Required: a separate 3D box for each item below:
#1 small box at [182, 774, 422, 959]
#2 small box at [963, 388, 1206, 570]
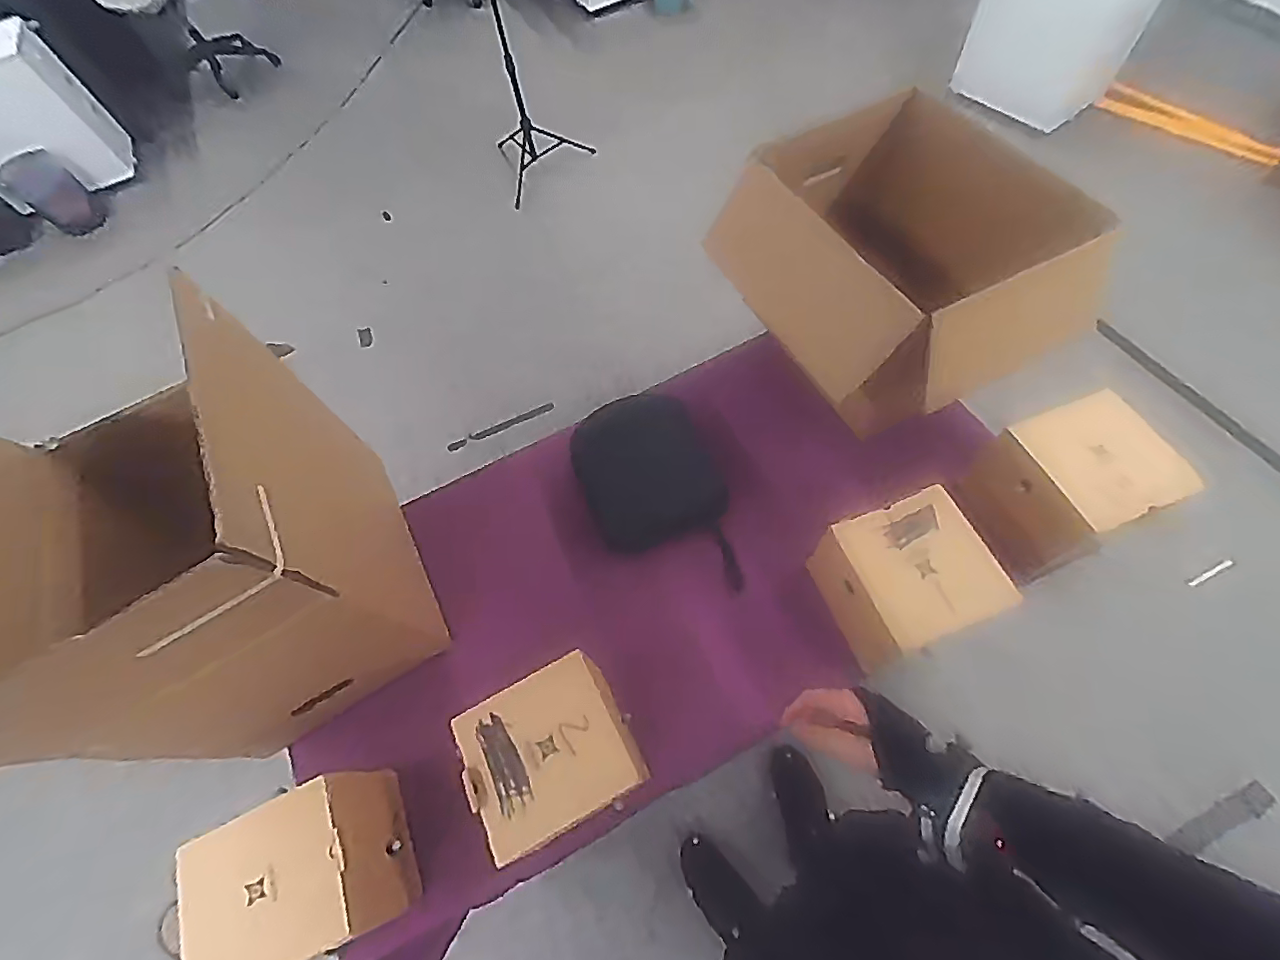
[{"bbox_3d":[-0.399,0.481,0.655,0.179,0.176,0.168,-25,63,-8],"label":"small box"},{"bbox_3d":[0.614,0.004,0.780,0.168,0.176,0.179,-21,62,-3],"label":"small box"}]
